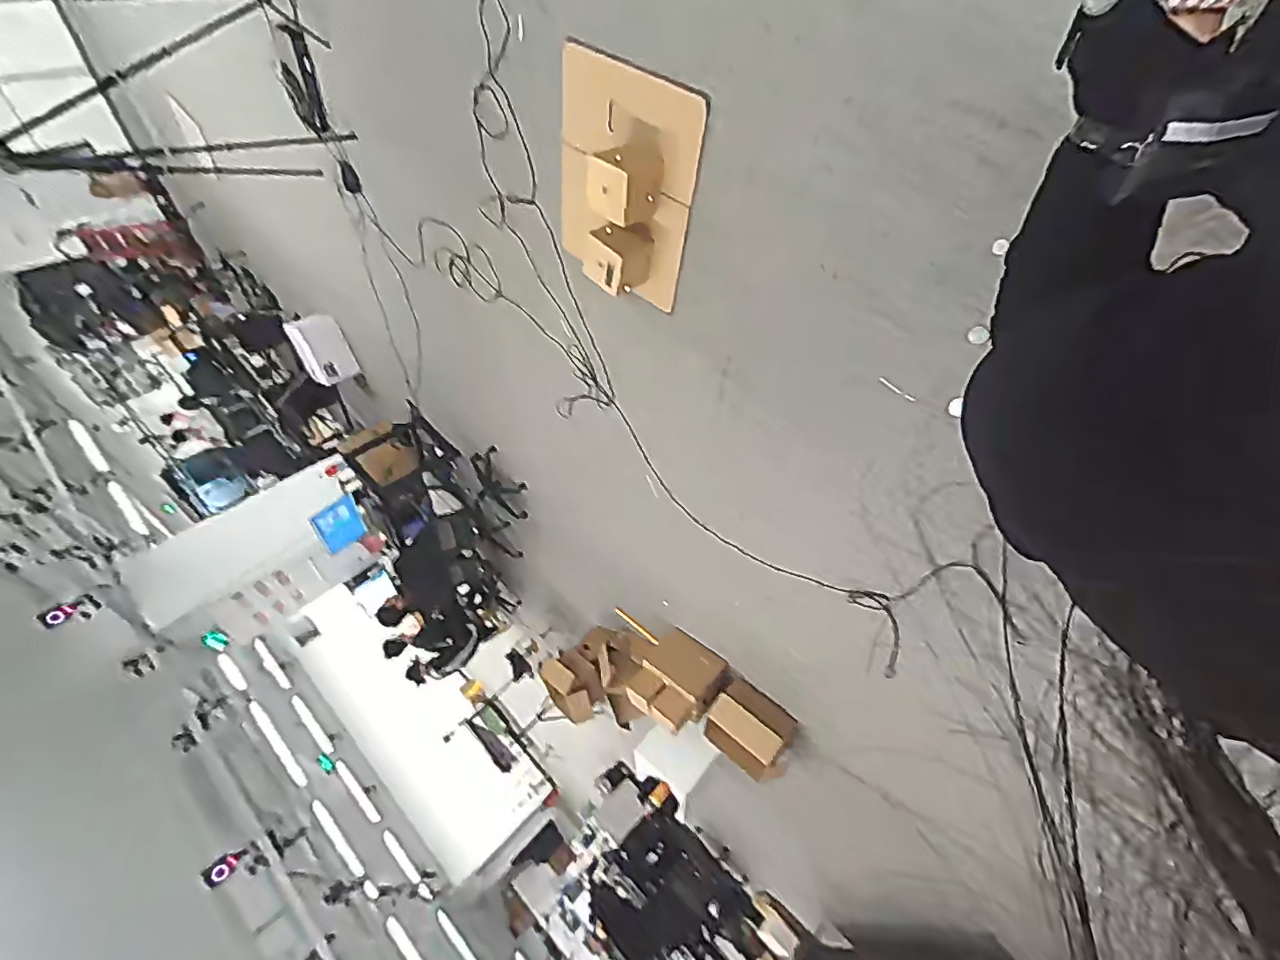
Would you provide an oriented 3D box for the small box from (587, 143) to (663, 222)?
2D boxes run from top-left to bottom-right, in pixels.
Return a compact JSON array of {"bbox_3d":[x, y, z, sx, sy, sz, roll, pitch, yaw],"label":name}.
[{"bbox_3d":[-0.052,-0.969,1.752,0.179,0.176,0.168,37,145,22],"label":"small box"}]
